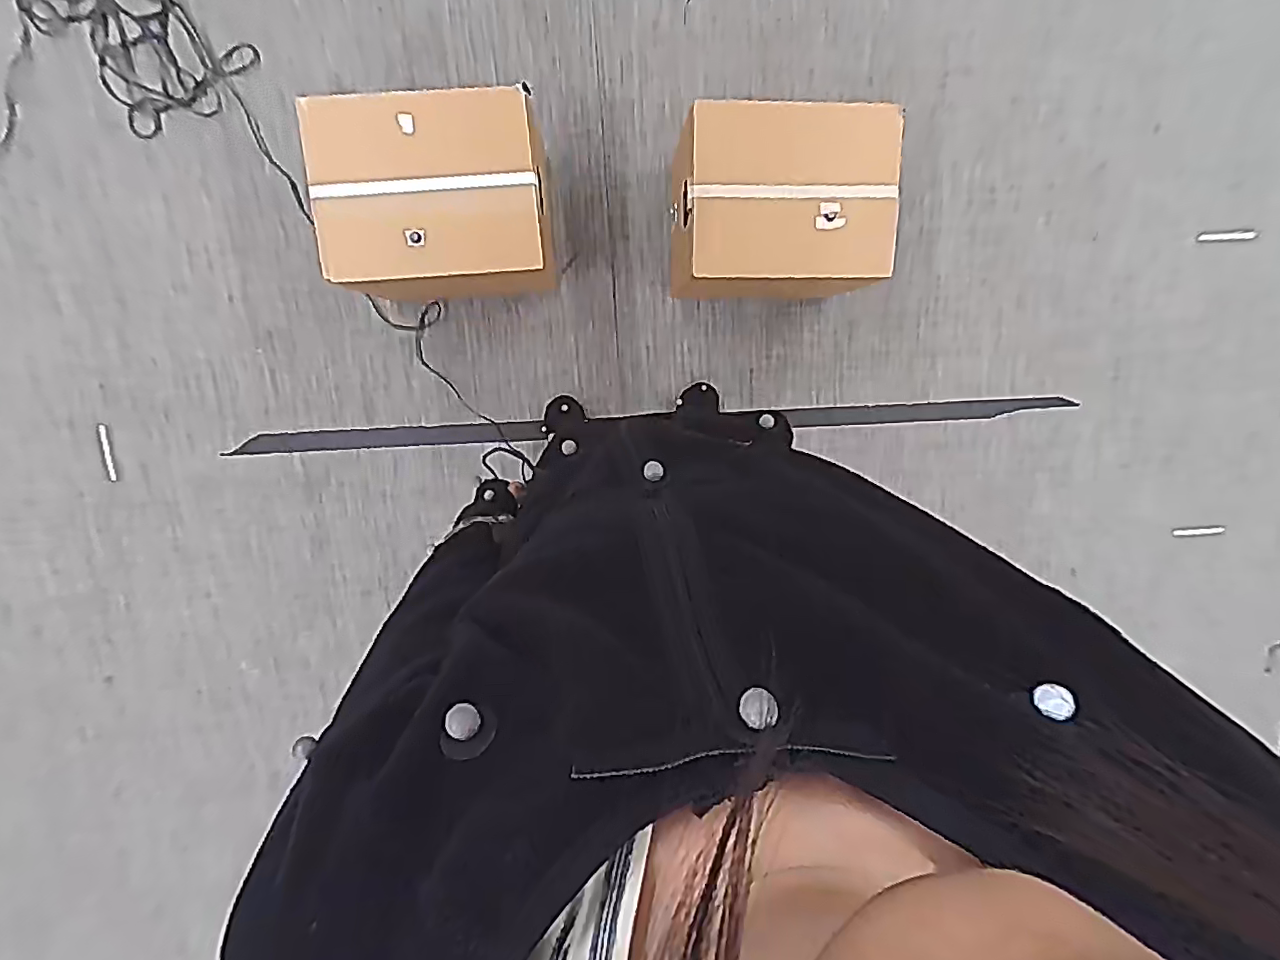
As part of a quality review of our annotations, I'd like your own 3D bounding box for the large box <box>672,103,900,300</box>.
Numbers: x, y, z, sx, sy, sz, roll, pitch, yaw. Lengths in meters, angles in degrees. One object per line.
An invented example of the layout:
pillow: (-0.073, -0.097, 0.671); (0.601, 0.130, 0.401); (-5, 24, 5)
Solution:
large box: (0.289, -0.582, 1.190); (0.408, 0.320, 0.320); (-1, 101, -4)
